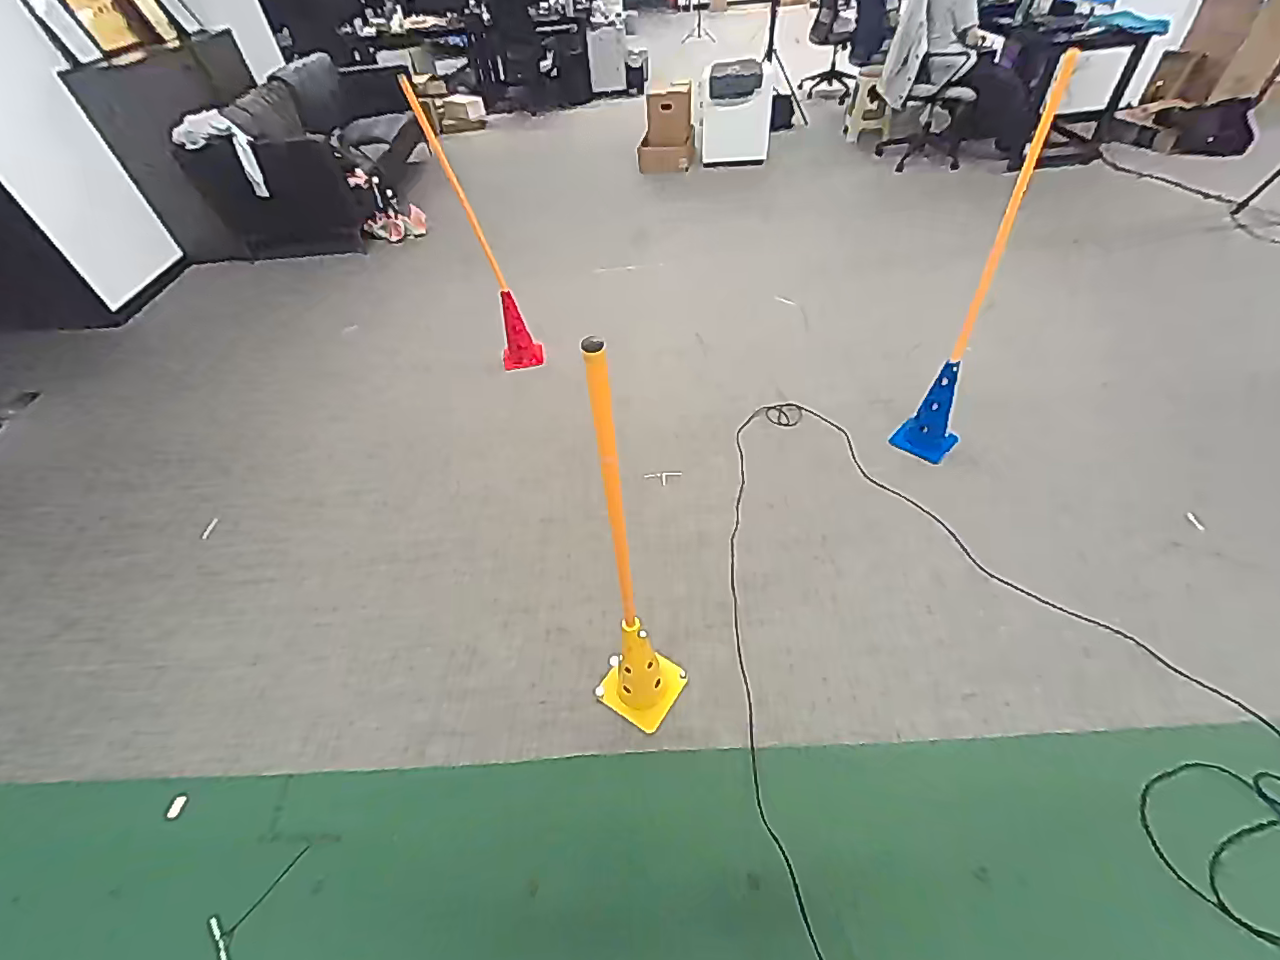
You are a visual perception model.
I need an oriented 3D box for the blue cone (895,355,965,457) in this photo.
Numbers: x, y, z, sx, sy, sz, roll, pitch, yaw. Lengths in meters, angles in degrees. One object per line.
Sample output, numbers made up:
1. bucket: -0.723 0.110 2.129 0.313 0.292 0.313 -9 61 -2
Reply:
1. blue cone: 1.087 -0.286 1.967 0.192 0.380 0.193 31 55 31
